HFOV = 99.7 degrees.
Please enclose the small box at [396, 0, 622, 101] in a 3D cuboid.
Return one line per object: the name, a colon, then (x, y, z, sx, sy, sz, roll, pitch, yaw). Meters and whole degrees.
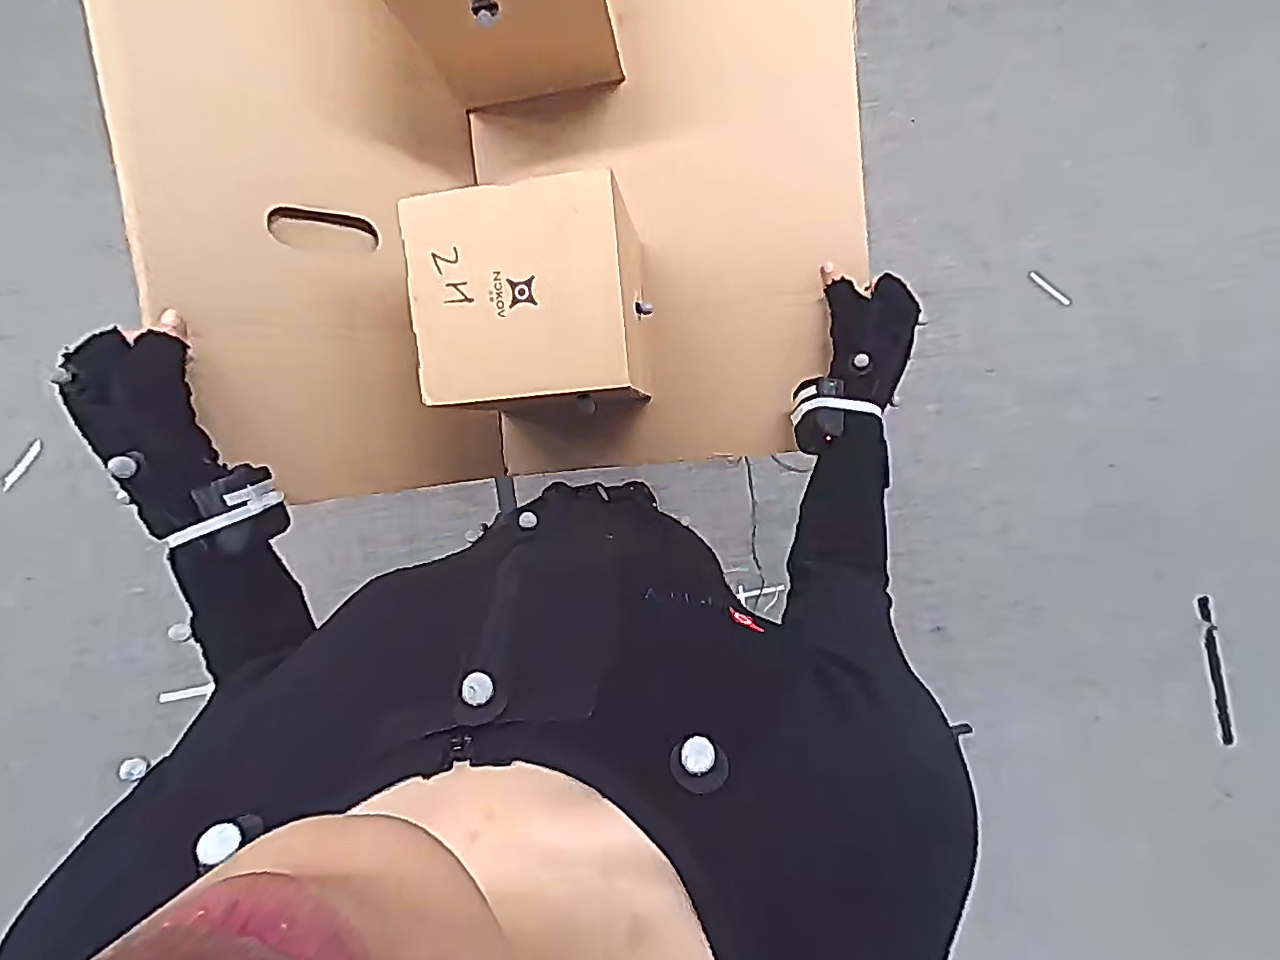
small box: (-0.121, -0.480, 0.484, 0.179, 0.176, 0.168, -5, 95, 7)
